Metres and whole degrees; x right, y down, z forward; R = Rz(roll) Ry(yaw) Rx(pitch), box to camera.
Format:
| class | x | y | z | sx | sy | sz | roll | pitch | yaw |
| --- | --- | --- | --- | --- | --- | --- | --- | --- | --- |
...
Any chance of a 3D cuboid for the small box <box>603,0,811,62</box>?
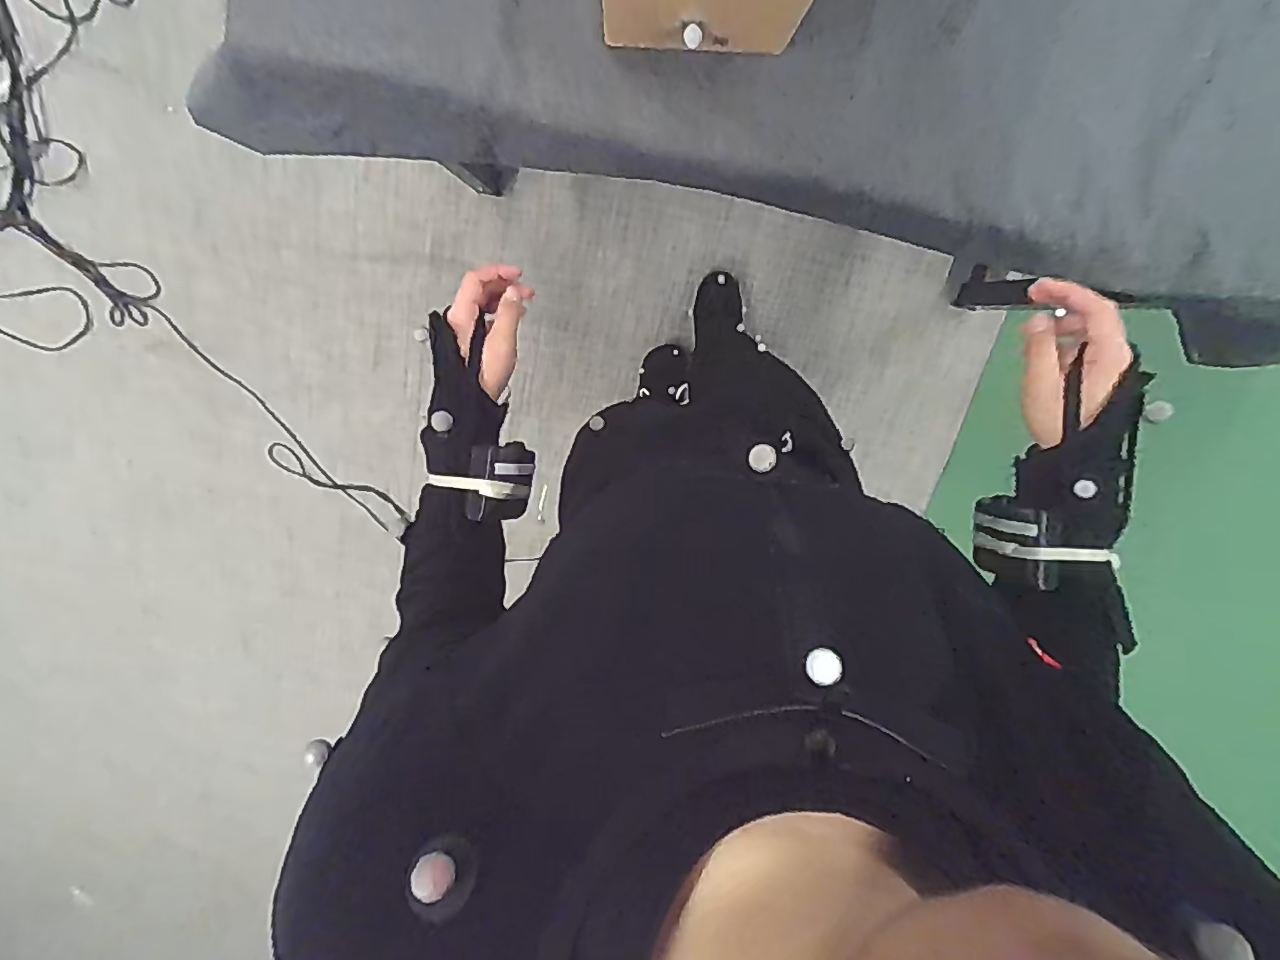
| class | x | y | z | sx | sy | sz | roll | pitch | yaw |
| --- | --- | --- | --- | --- | --- | --- | --- | --- | --- |
| small box | 0.053 | -0.451 | 0.397 | 0.168 | 0.176 | 0.179 | 2 | 108 | -1 |
